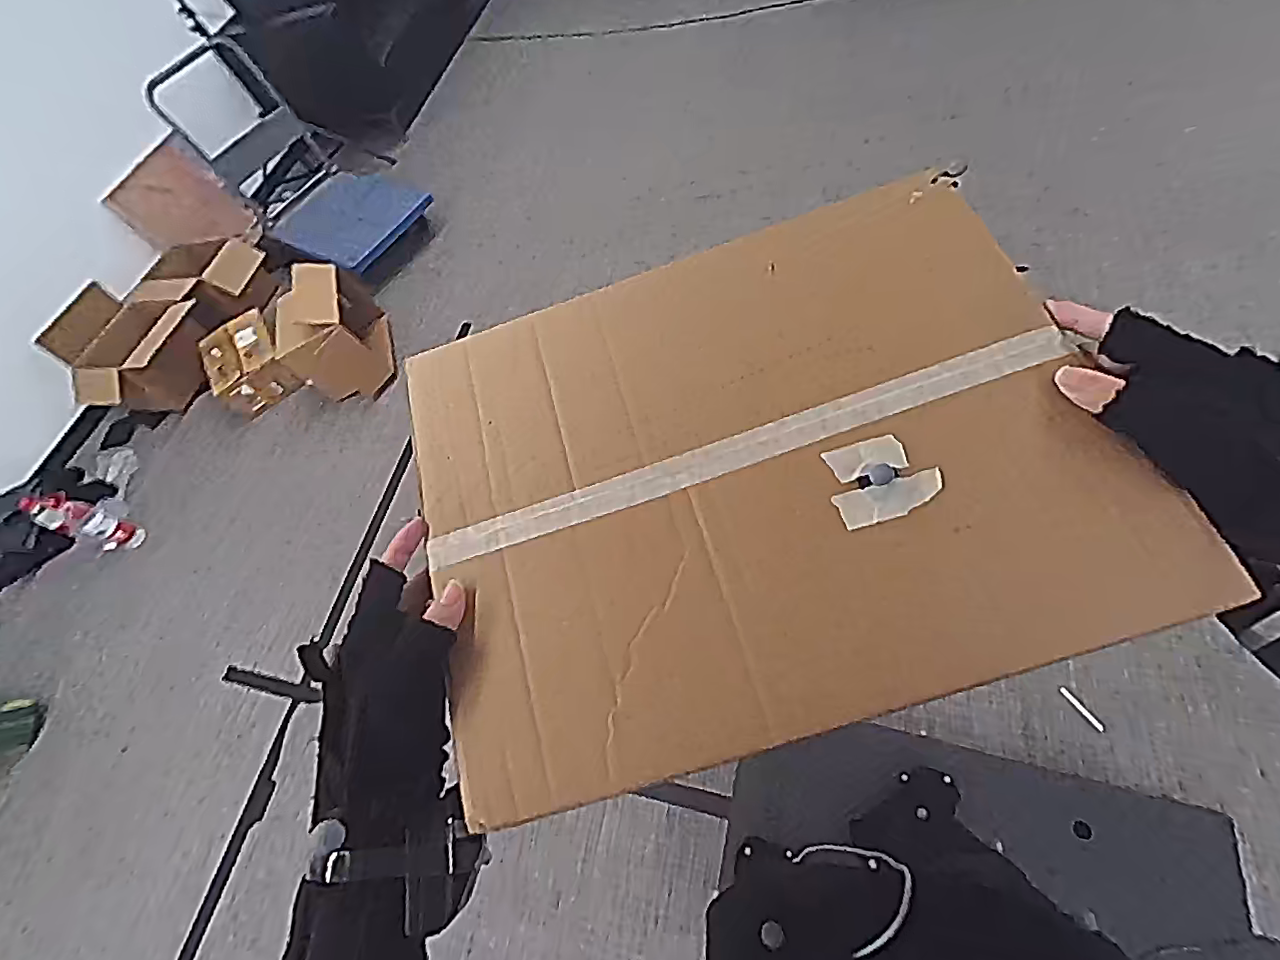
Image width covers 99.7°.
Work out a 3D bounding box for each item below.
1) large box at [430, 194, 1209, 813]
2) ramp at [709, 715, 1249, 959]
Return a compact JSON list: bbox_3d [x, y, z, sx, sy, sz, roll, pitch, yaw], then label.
[{"bbox_3d":[0.091,0.041,0.481,0.408,0.320,0.320,-19,68,3],"label":"large box"},{"bbox_3d":[0.672,0.809,1.105,0.991,0.206,0.509,5,62,17],"label":"ramp"}]
